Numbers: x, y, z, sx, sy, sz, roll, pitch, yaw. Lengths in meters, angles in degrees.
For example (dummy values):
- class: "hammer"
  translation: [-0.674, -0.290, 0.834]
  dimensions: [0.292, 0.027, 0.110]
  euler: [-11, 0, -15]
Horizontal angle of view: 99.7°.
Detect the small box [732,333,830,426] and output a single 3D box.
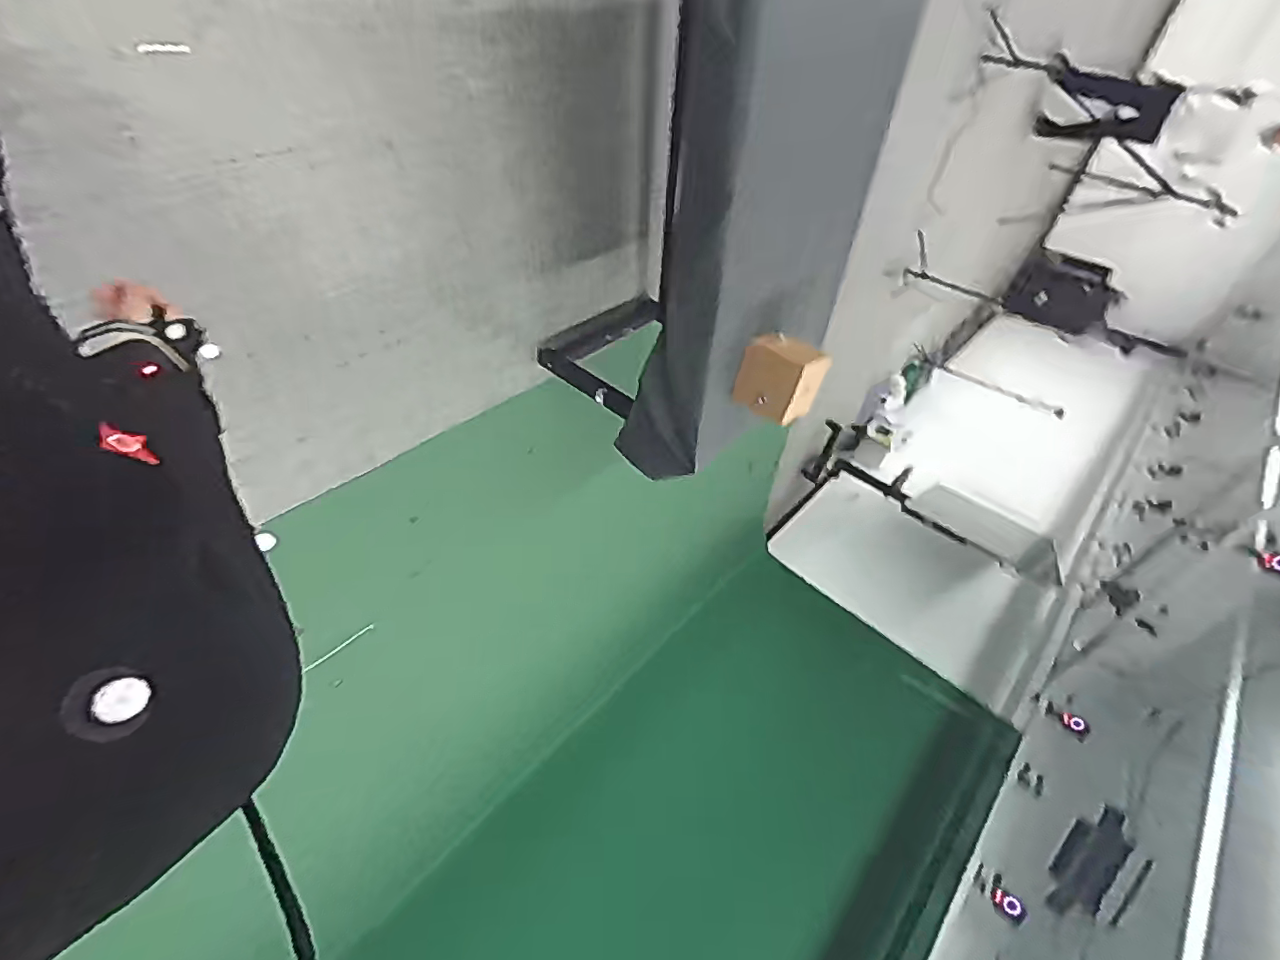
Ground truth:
- class: "small box"
  translation: [0.370, -0.273, 1.449]
  dimensions: [0.168, 0.176, 0.179]
  euler: [-26, 140, -44]
